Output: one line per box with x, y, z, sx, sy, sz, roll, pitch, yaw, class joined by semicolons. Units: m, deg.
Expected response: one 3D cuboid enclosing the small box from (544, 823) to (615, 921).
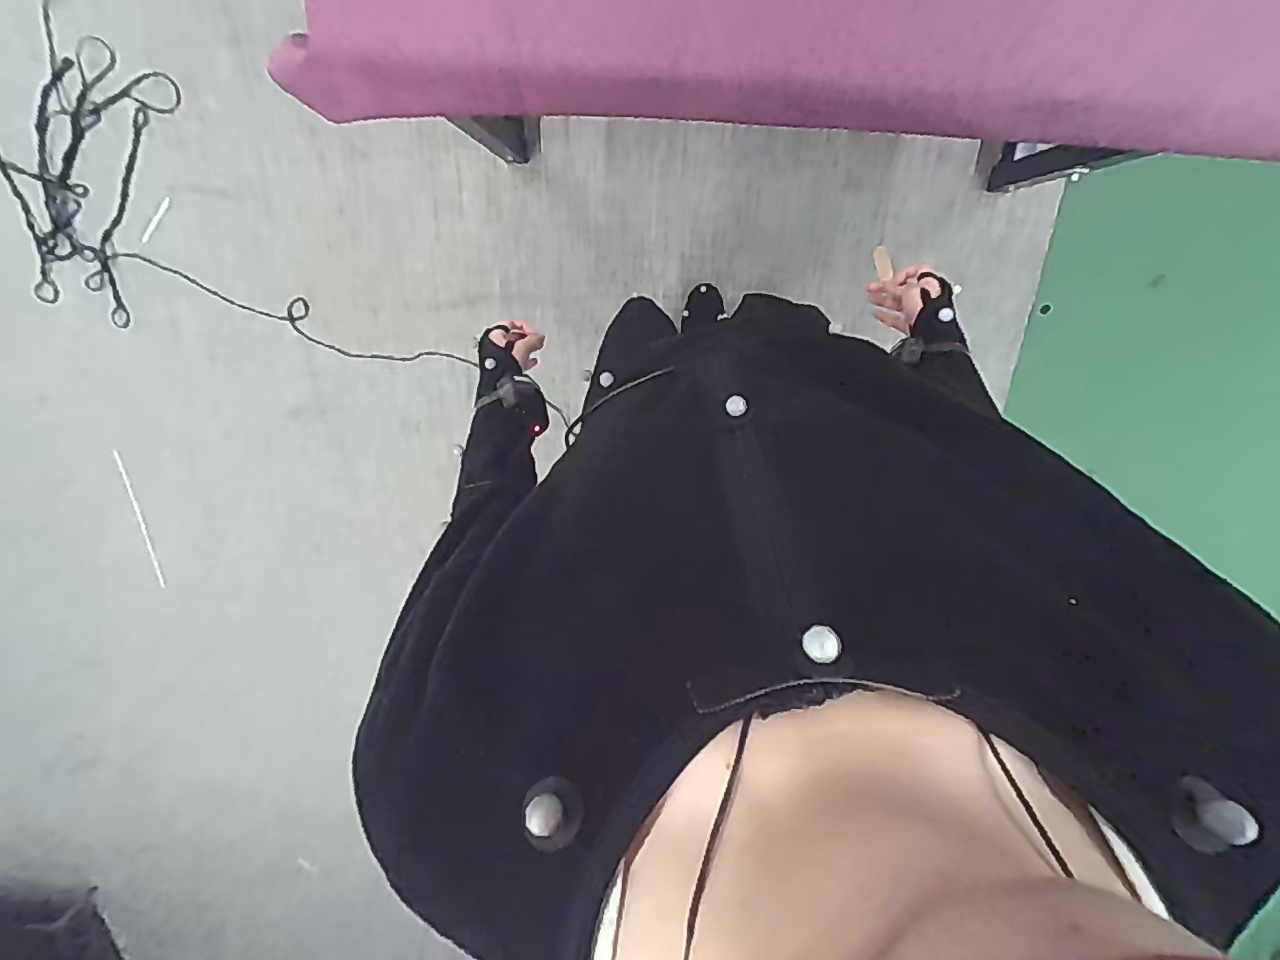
-0.189;1.261;1.745;0.168;0.176;0.179;22;110;-4;small box

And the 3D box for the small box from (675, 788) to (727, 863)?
0.207;1.207;1.883;0.168;0.176;0.179;0;111;3;small box
